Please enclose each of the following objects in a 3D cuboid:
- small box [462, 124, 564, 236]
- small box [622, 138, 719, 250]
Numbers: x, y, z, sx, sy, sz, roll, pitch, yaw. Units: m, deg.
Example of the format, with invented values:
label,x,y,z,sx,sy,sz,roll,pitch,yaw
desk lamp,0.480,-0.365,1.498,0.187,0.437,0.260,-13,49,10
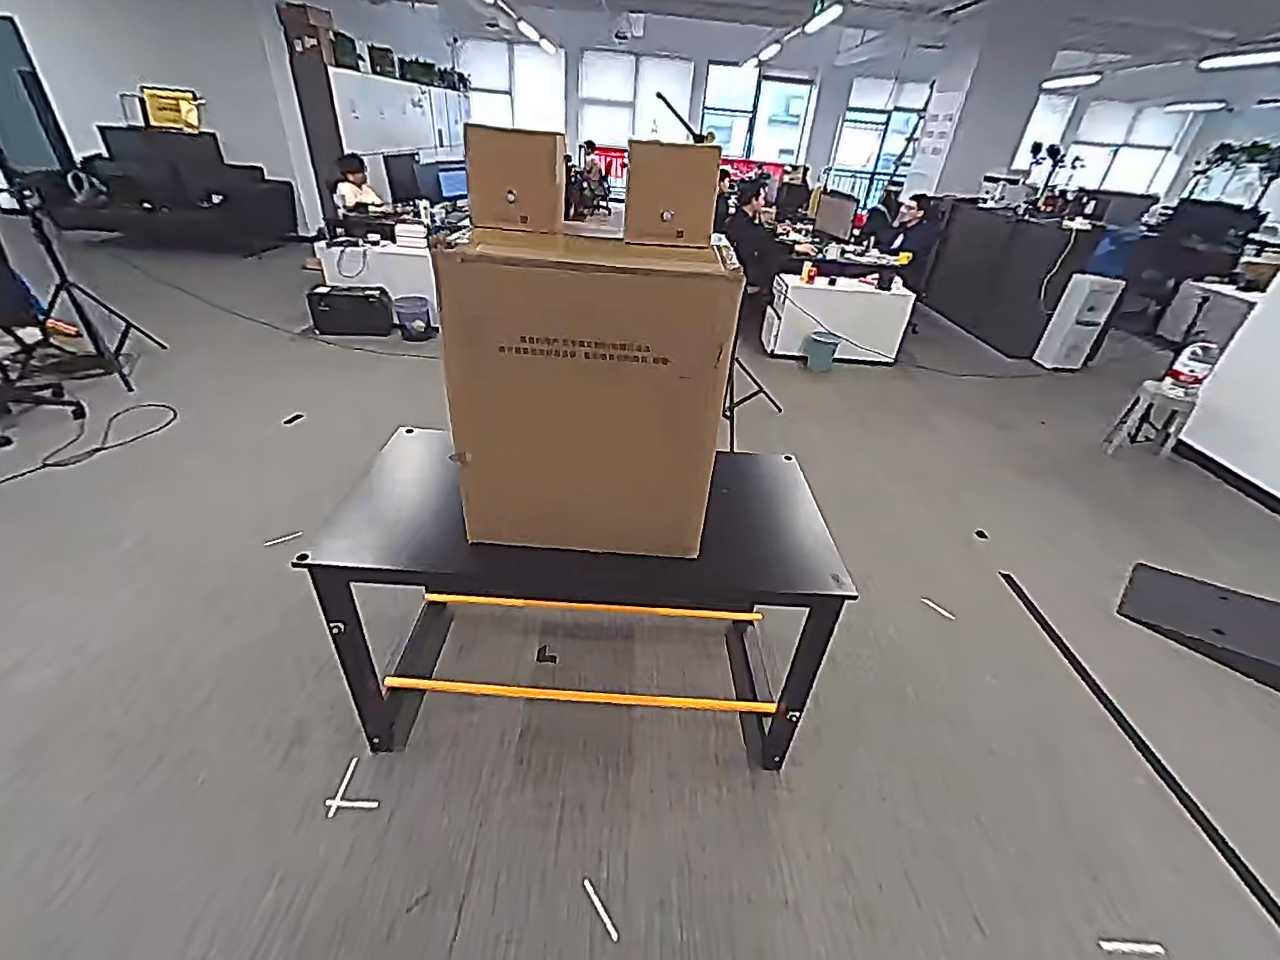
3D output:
label,x,y,z,sx,sy,sz,roll,pitch,yaw
small box,-0.242,-0.591,1.067,0.168,0.176,0.179,3,32,-4
small box,0.050,-0.555,1.049,0.168,0.176,0.179,1,32,-3
